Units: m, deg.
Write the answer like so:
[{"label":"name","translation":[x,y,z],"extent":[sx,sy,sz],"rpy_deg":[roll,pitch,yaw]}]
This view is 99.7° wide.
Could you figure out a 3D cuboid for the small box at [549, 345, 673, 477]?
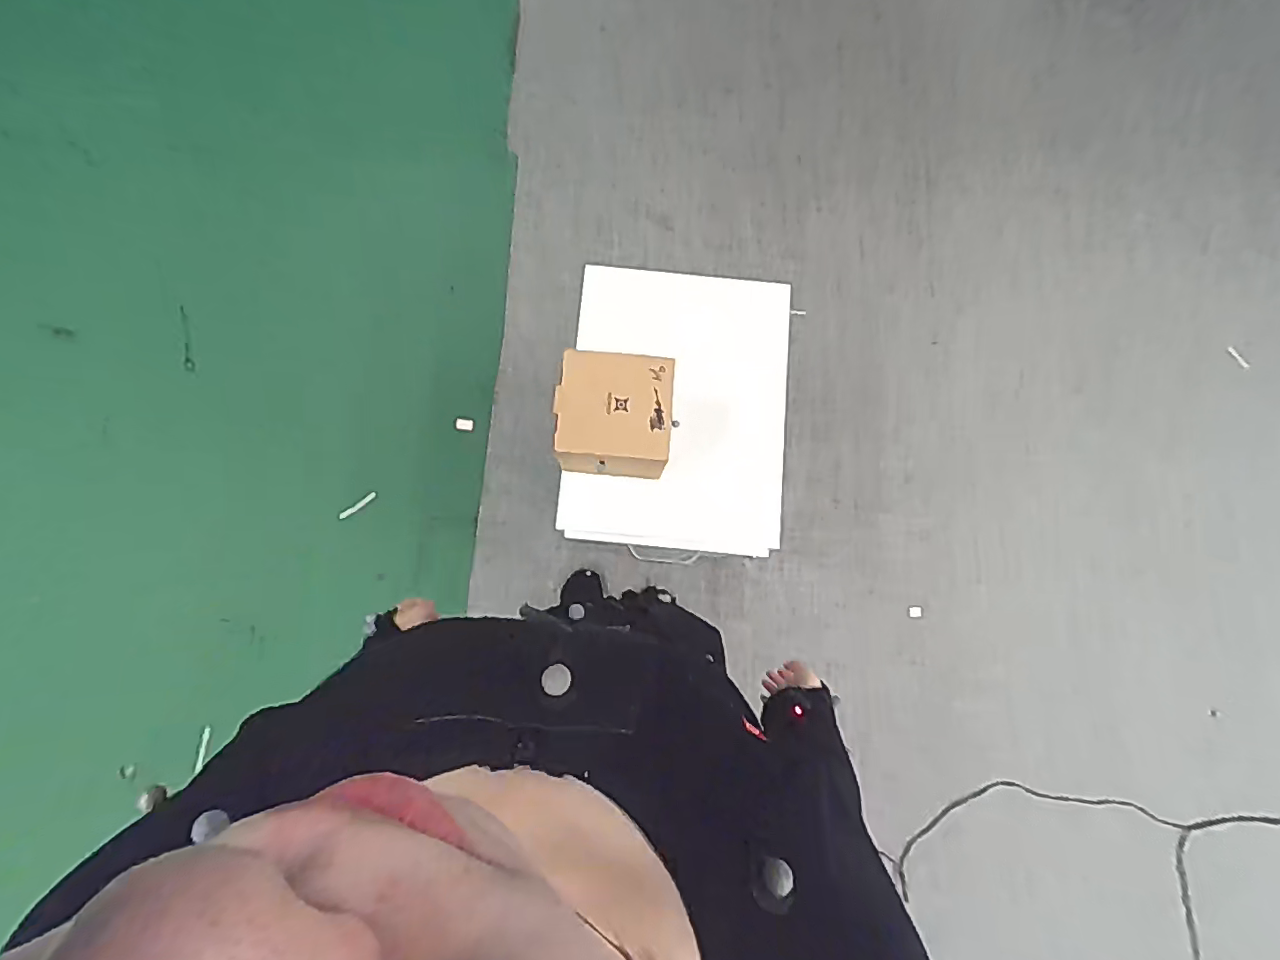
[{"label":"small box","translation":[-0.046,-0.105,0.892],"extent":[0.179,0.176,0.168],"rpy_deg":[6,79,-2]}]
